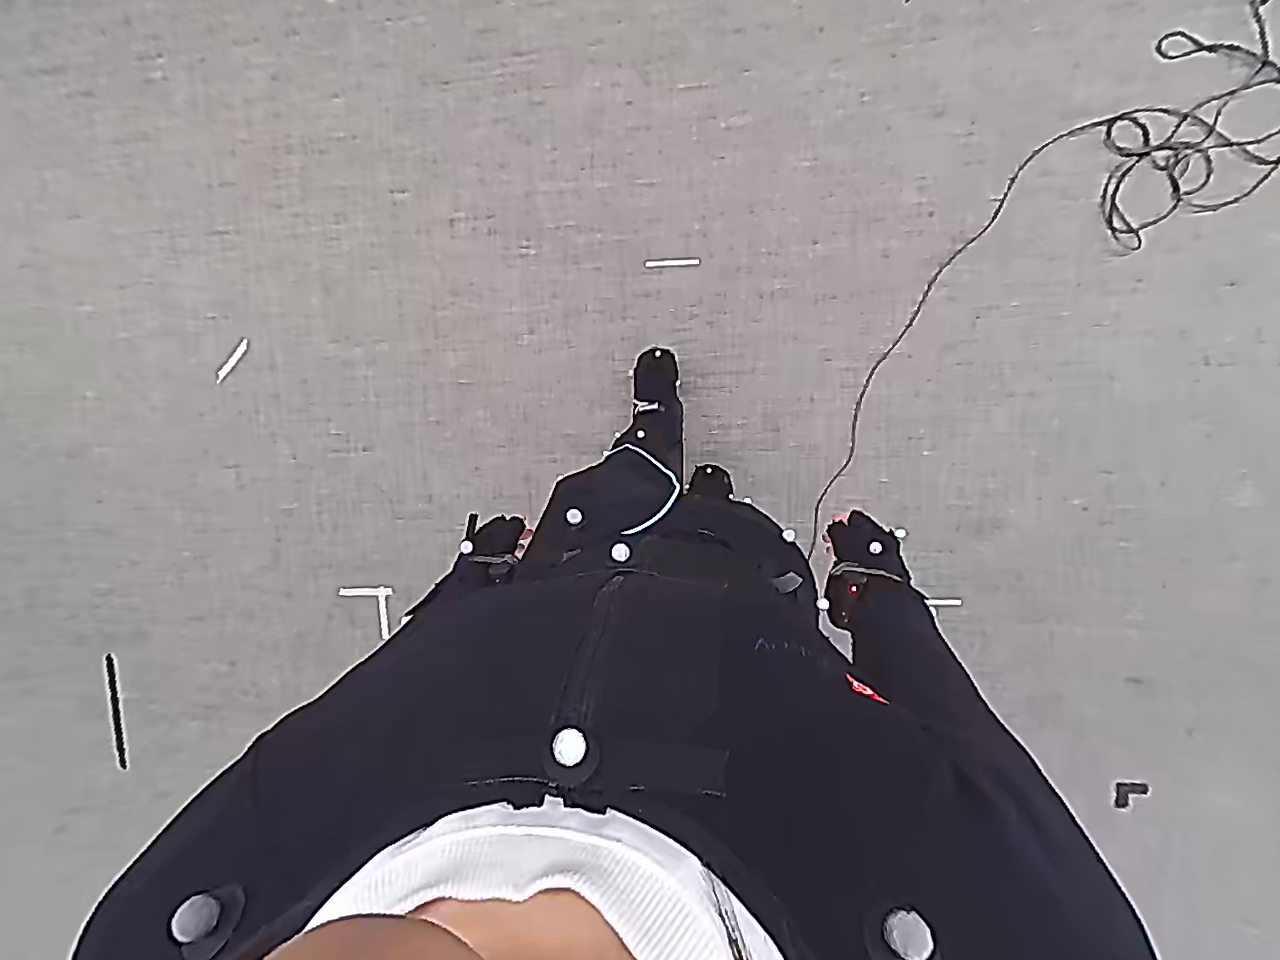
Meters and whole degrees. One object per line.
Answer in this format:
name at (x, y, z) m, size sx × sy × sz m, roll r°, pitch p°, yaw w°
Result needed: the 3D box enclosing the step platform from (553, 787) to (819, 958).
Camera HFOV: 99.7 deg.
step platform at (0.115, 1.021, 1.427) m, size 0.684 × 0.204 × 0.286 m, roll -1°, pitch 94°, yaw 10°
